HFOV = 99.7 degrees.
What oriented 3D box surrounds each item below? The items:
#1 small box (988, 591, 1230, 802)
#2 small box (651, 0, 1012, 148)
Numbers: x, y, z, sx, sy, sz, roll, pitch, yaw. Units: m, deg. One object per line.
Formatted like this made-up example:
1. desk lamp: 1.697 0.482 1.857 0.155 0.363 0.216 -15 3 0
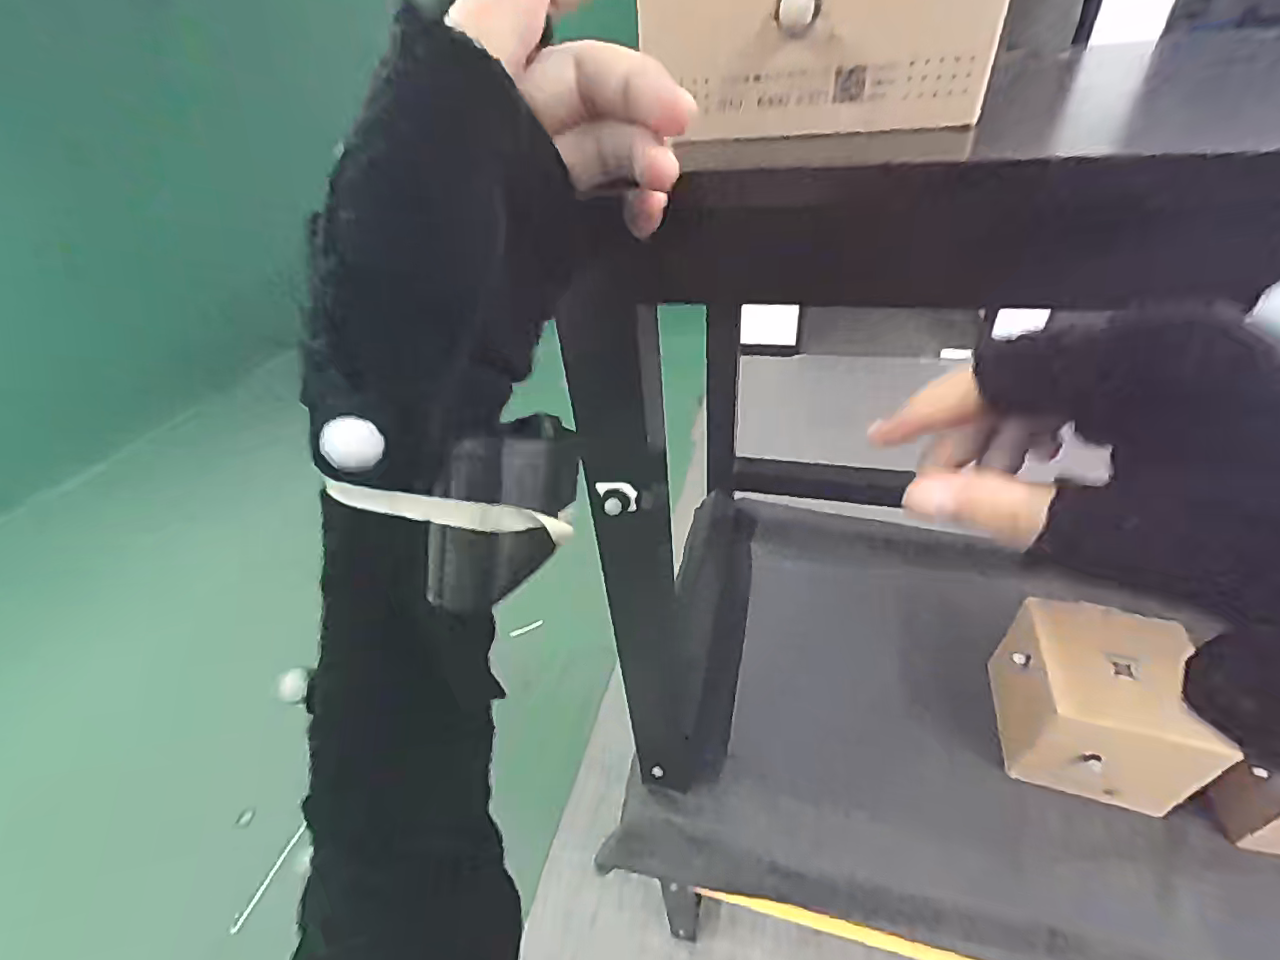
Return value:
1. small box: 0.574 0.277 0.696 0.168 0.176 0.179 9 41 17
2. small box: 0.099 -0.290 0.288 0.168 0.176 0.179 6 42 13
